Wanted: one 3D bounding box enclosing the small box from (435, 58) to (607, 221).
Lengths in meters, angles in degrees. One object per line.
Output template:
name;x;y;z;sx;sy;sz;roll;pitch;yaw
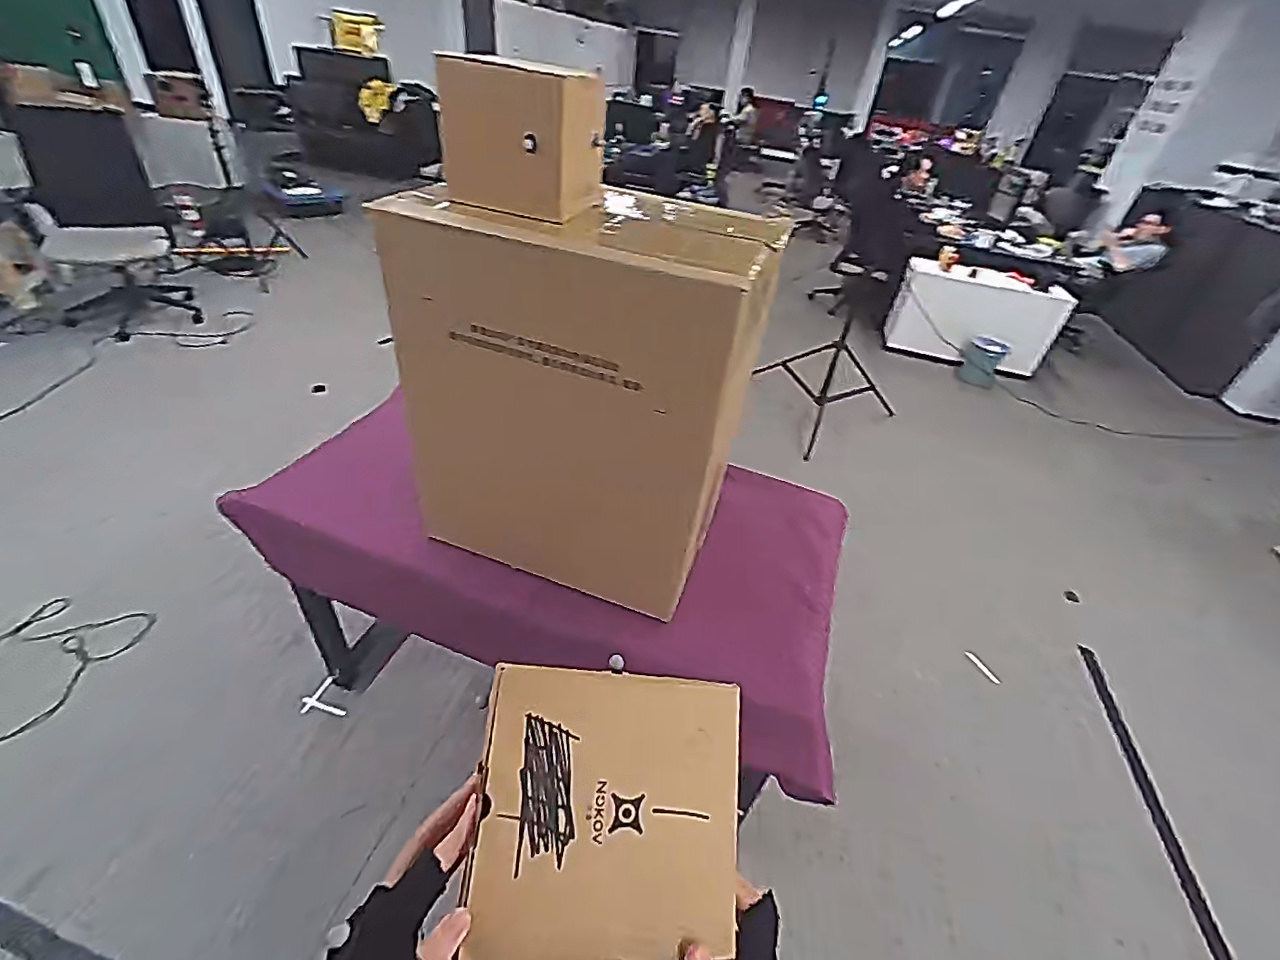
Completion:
small box;-0.159;-0.477;0.764;0.179;0.176;0.168;14;38;8

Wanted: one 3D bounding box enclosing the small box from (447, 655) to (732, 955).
small box;-0.042;0.232;0.425;0.179;0.176;0.168;9;70;-14
